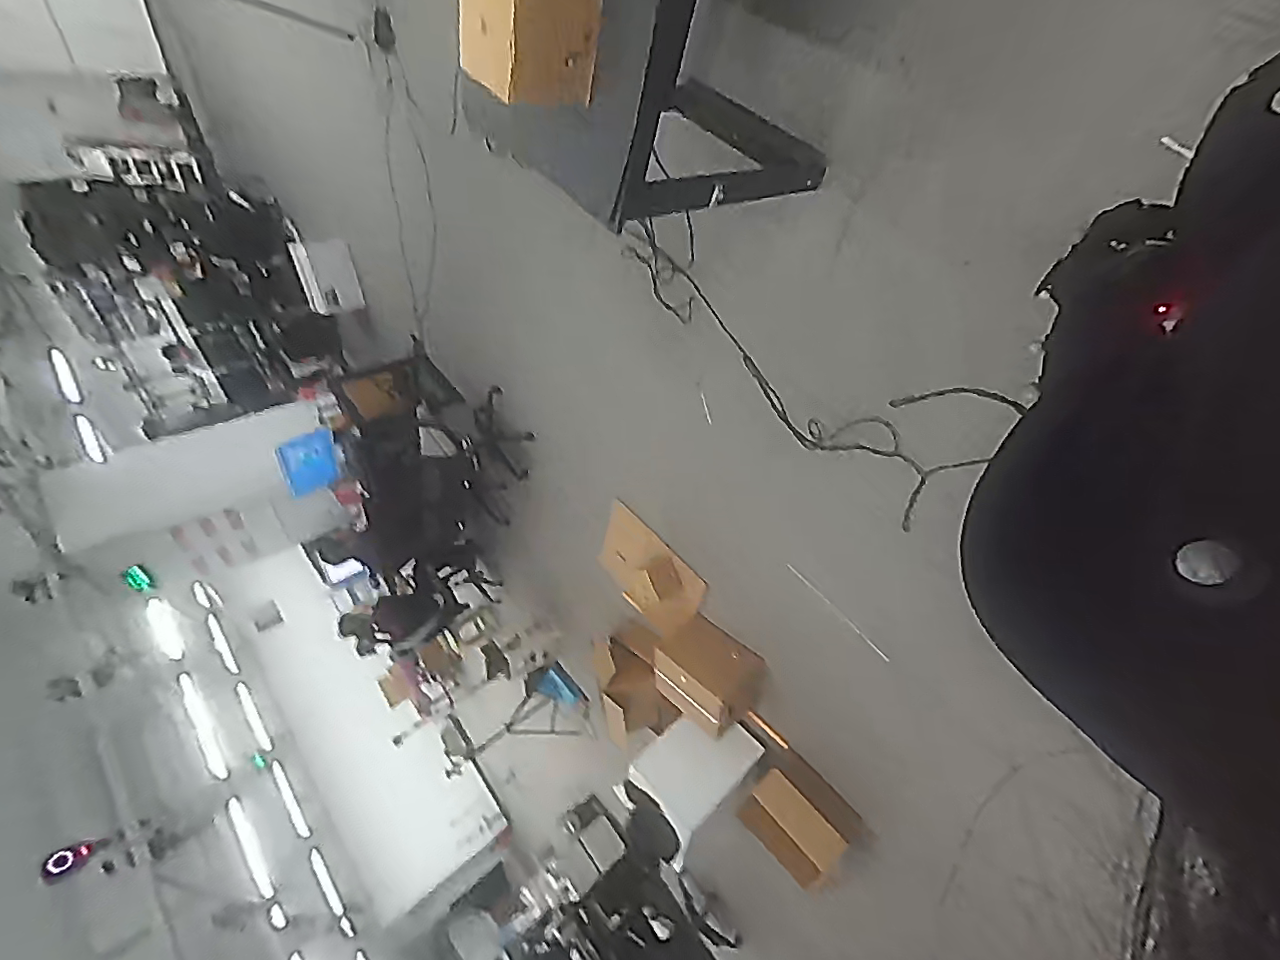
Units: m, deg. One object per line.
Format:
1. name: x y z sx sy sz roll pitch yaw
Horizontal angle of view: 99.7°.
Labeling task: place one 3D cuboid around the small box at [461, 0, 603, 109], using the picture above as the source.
1. small box: -0.190 -0.763 0.935 0.179 0.176 0.168 47 142 24
